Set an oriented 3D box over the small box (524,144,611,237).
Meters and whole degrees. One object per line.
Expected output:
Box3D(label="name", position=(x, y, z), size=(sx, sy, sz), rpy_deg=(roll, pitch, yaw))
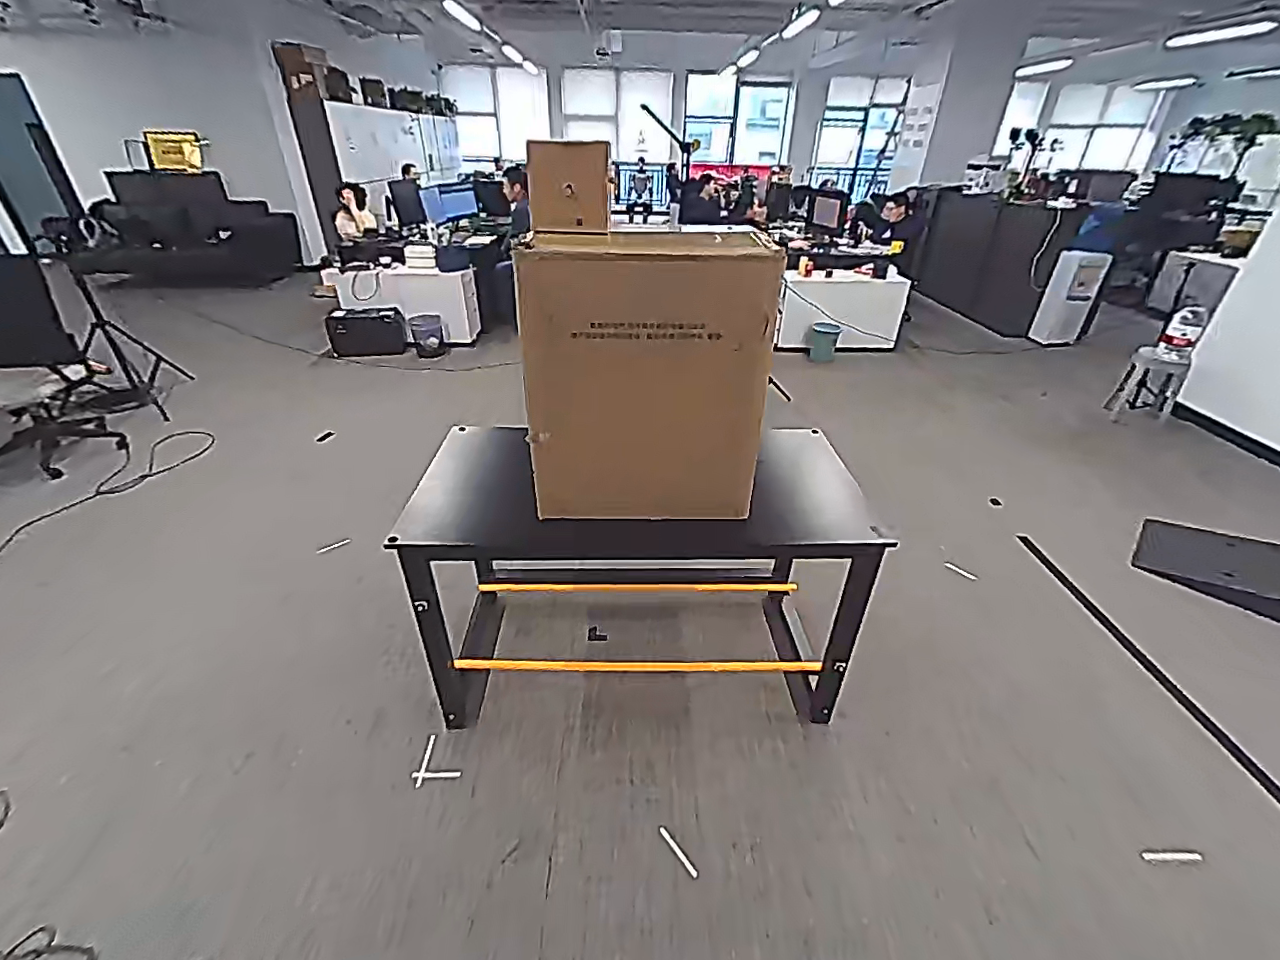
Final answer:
Box3D(label="small box", position=(-0.149, -0.630, 1.176), size=(0.168, 0.176, 0.179), rpy_deg=(1, 31, -2))
